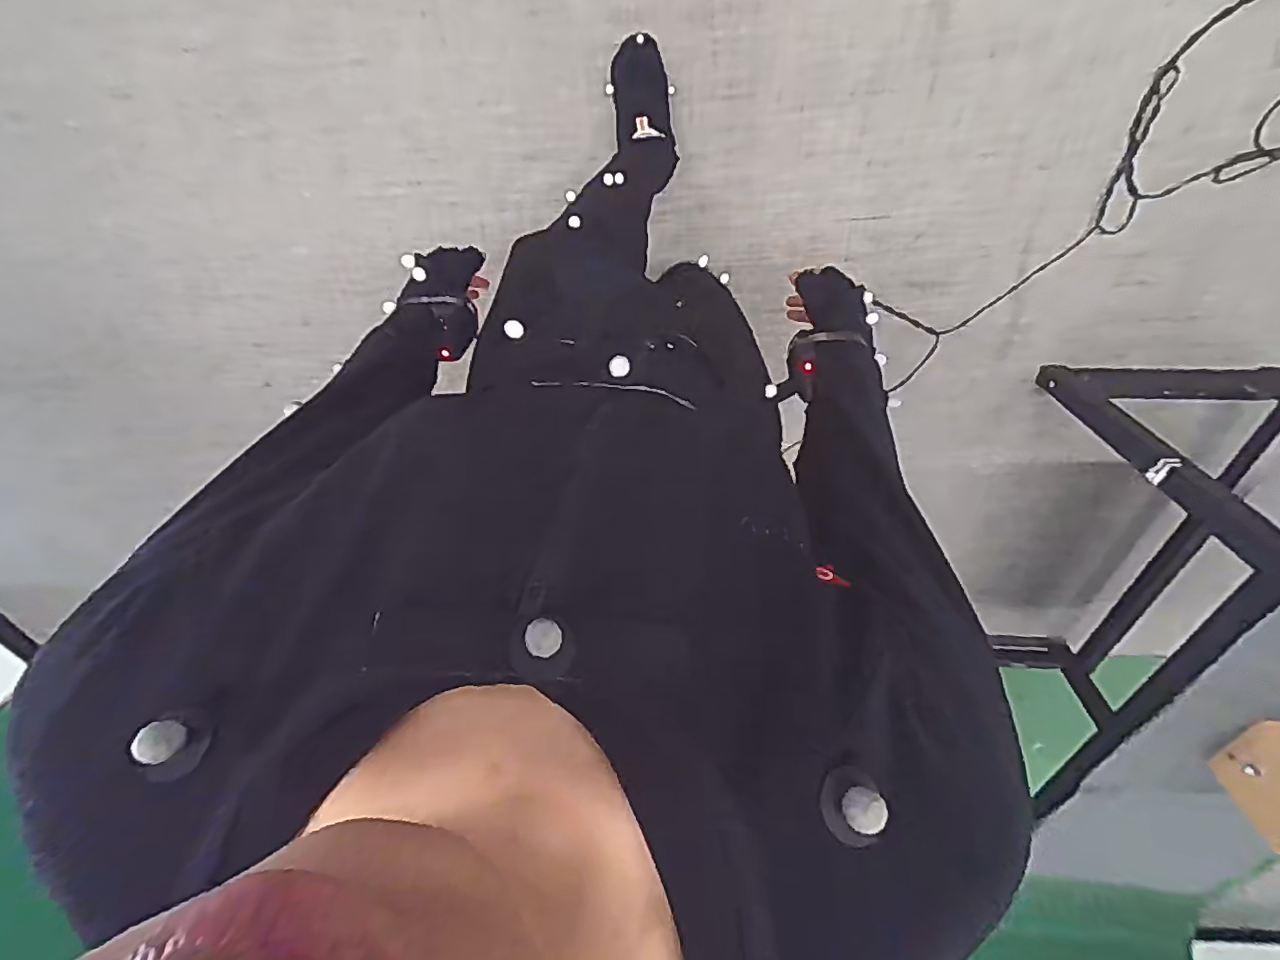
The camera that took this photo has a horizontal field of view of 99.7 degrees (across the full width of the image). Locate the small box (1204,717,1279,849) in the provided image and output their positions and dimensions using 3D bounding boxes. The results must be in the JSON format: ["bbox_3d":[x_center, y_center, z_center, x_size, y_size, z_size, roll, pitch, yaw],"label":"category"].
[{"bbox_3d":[1.225,0.554,0.988,0.179,0.176,0.168,1,127,3],"label":"small box"}]
